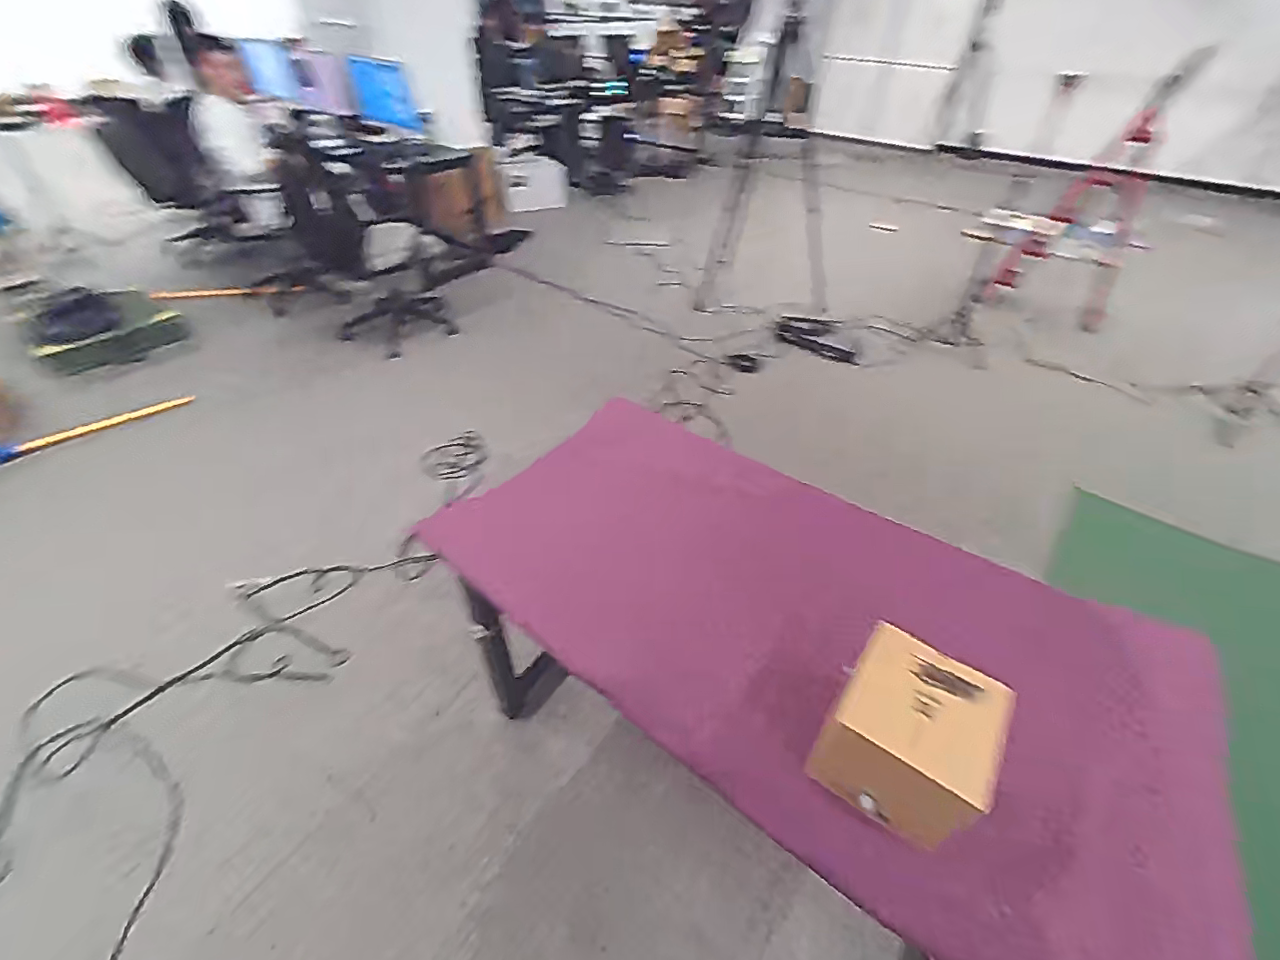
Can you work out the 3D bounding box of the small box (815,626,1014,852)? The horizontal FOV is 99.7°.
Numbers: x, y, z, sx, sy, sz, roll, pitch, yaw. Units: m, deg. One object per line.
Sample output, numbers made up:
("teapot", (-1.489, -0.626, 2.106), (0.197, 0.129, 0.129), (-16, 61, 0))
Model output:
("small box", (0.351, 0.337, 0.713), (0.168, 0.176, 0.179), (27, 47, 26))
